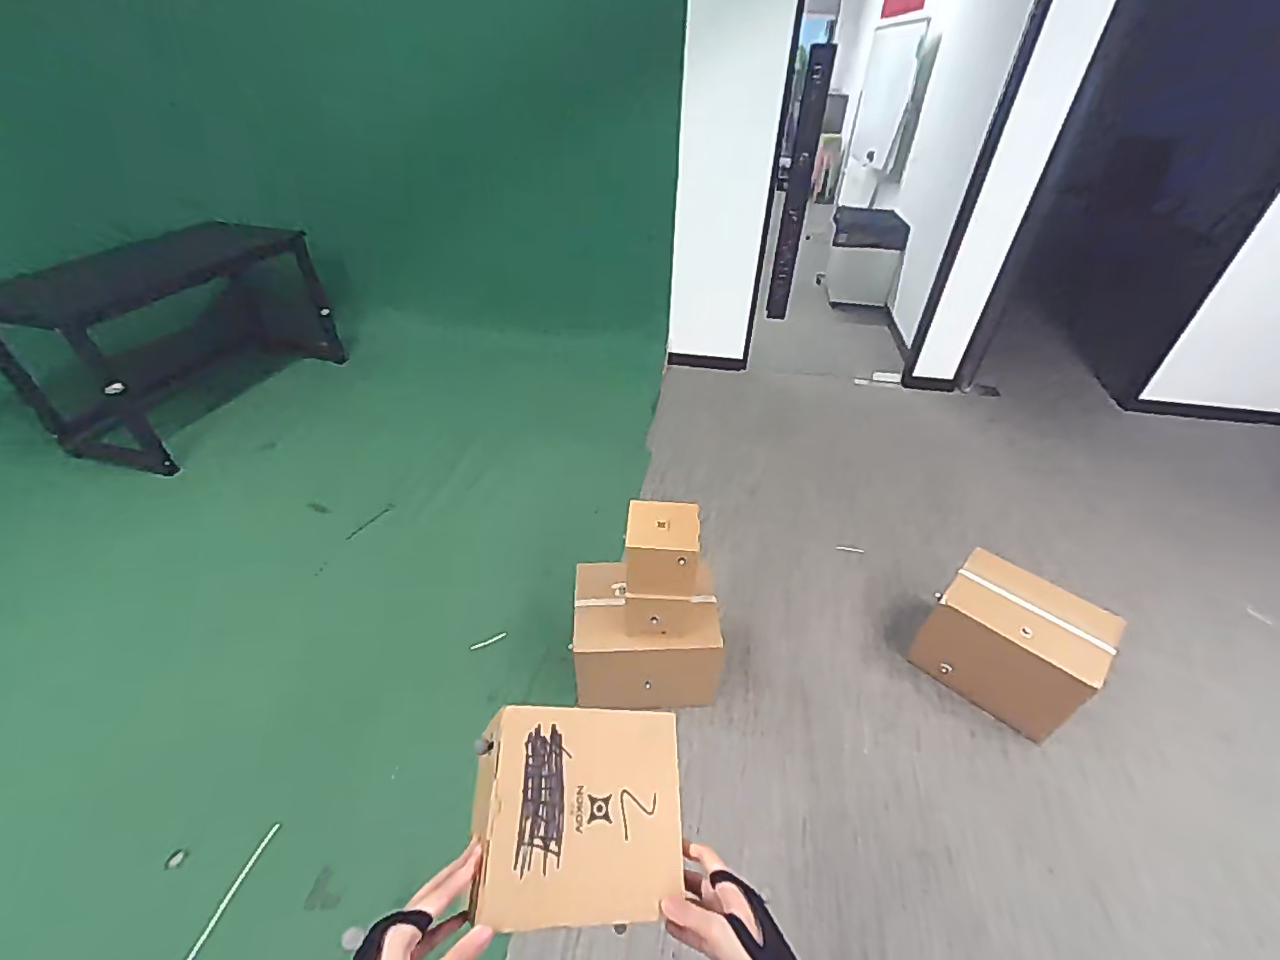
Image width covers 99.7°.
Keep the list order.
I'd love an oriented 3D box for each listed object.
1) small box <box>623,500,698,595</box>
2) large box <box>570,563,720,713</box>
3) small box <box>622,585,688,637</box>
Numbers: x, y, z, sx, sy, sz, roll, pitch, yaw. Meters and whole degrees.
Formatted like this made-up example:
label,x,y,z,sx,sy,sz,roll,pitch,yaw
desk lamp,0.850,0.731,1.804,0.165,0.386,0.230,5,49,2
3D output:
label,x,y,z,sx,sy,sz,roll,pitch,yaw
small box,0.049,0.170,1.350,0.179,0.176,0.168,4,39,1
large box,0.005,0.473,1.623,0.408,0.320,0.320,-2,38,-3
small box,0.040,0.300,1.446,0.168,0.176,0.179,3,39,0
